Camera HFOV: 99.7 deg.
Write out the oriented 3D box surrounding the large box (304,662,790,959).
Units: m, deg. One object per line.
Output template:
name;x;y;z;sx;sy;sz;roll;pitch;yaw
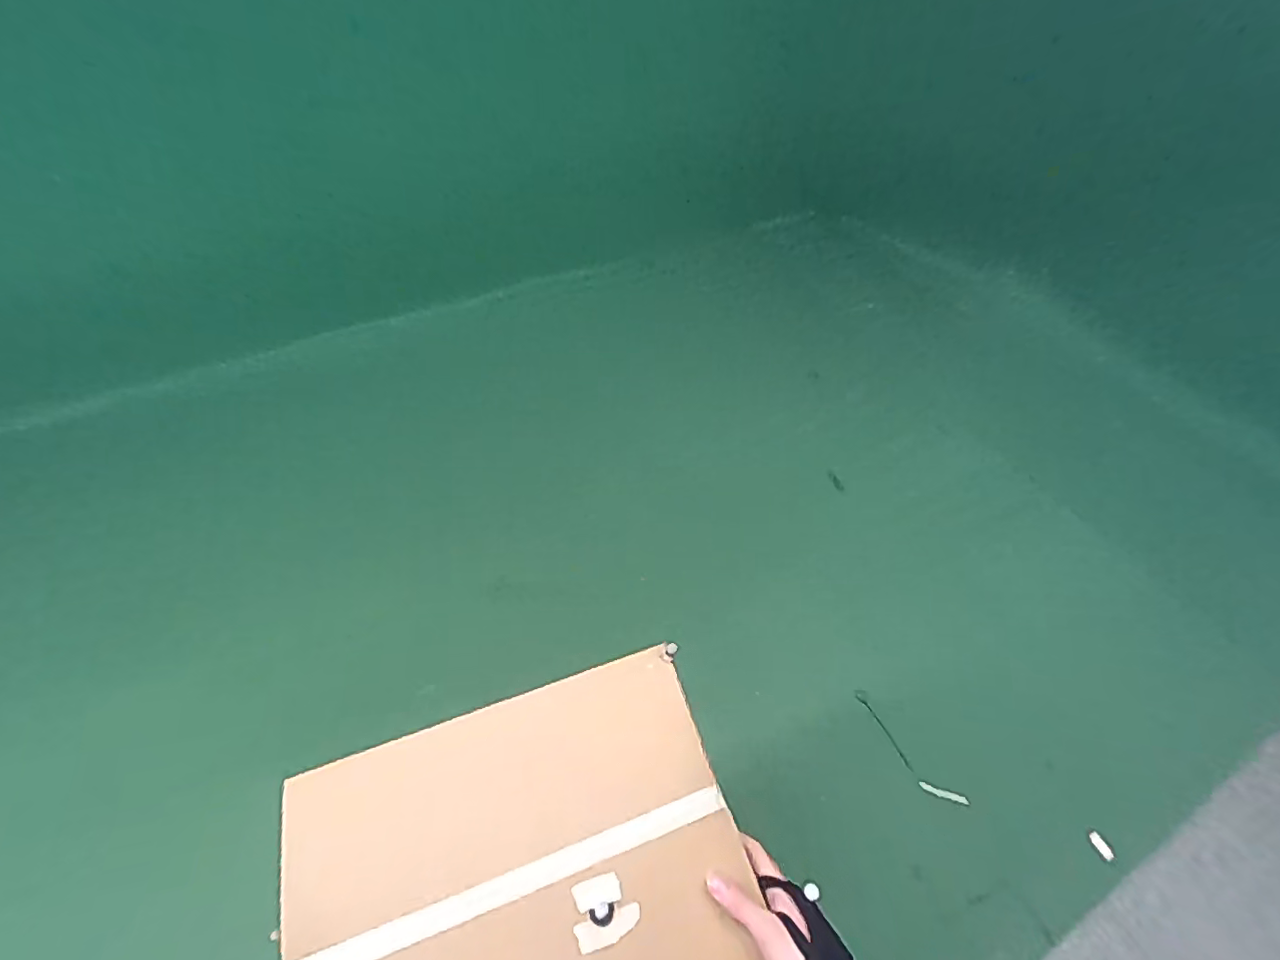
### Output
large box;-0.099;0.463;0.620;0.408;0.320;0.320;-16;59;-10
